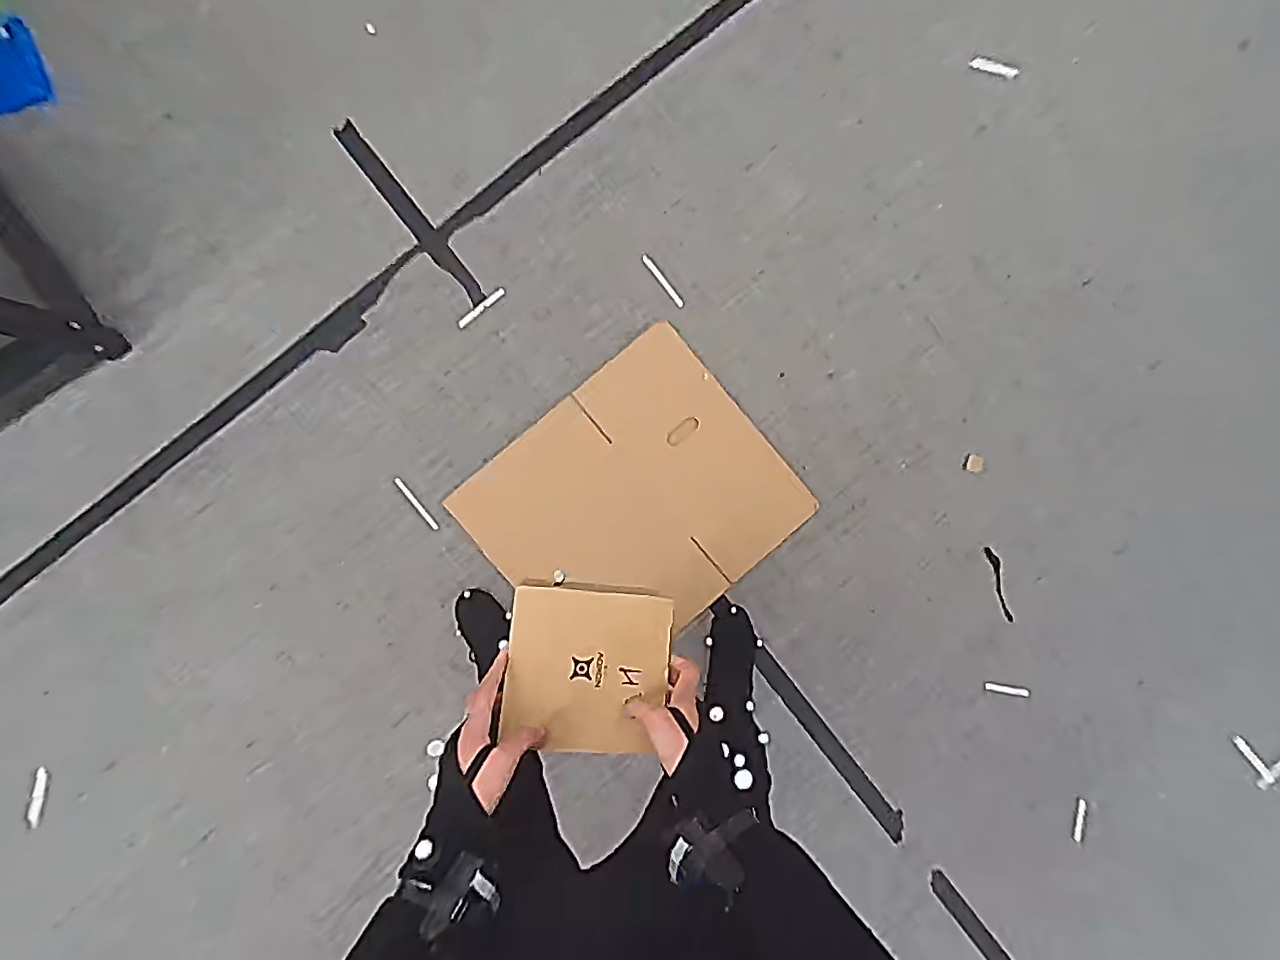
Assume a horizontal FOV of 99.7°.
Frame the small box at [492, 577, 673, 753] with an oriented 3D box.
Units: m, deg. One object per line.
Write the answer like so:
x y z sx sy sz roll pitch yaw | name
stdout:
-0.070 0.210 0.654 0.179 0.176 0.168 8 81 -9 | small box
